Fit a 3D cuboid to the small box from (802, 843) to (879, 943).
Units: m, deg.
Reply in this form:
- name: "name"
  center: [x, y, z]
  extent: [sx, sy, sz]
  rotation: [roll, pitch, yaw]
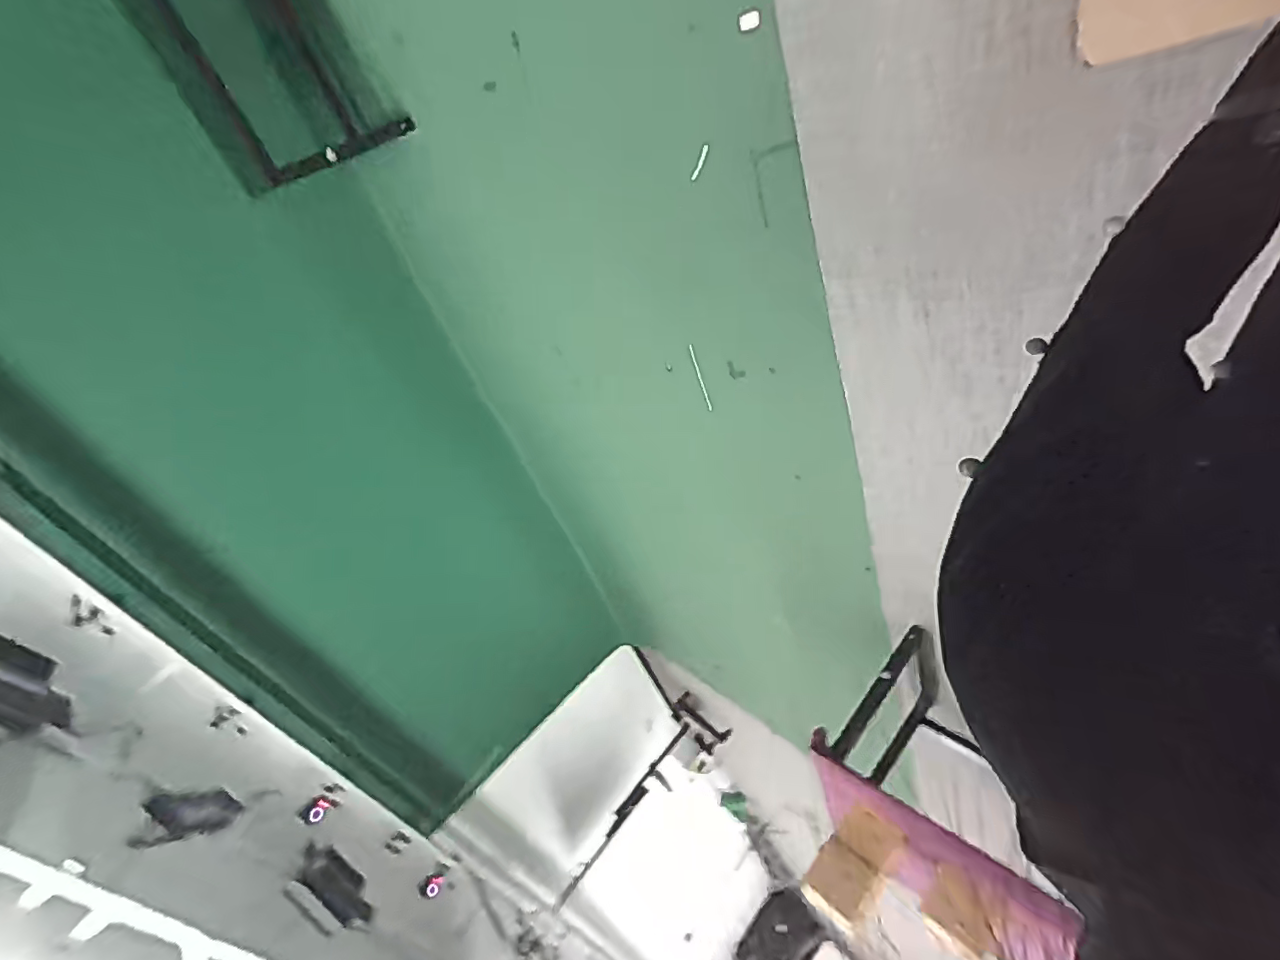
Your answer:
- name: "small box"
  center: [0.640, 1.303, 1.716]
  extent: [0.168, 0.176, 0.179]
  rotation: [22, 144, 44]

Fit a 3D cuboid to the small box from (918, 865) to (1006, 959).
- name: "small box"
  center: [0.943, 1.287, 1.586]
  extent: [0.179, 0.176, 0.168]
  rotation: [23, 146, 46]

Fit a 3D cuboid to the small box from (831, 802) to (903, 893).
- name: "small box"
  center: [0.756, 1.217, 1.797]
  extent: [0.168, 0.176, 0.179]
  rotation: [24, 145, 41]
